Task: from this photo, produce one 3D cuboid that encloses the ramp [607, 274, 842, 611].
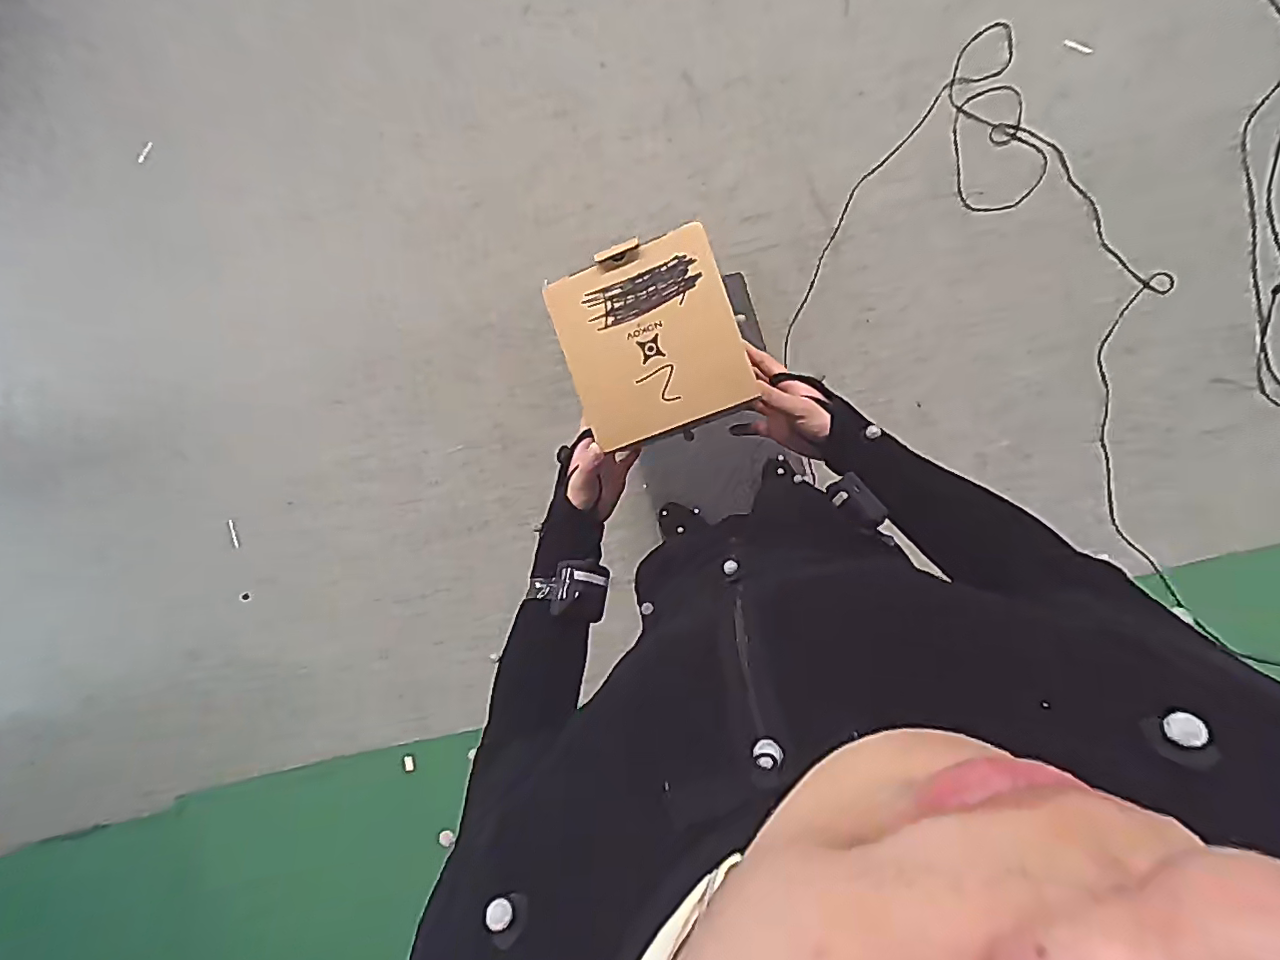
[{"bbox_3d":[0.240,-0.138,1.703,0.509,0.206,0.991,-17,89,6],"label":"ramp"}]
